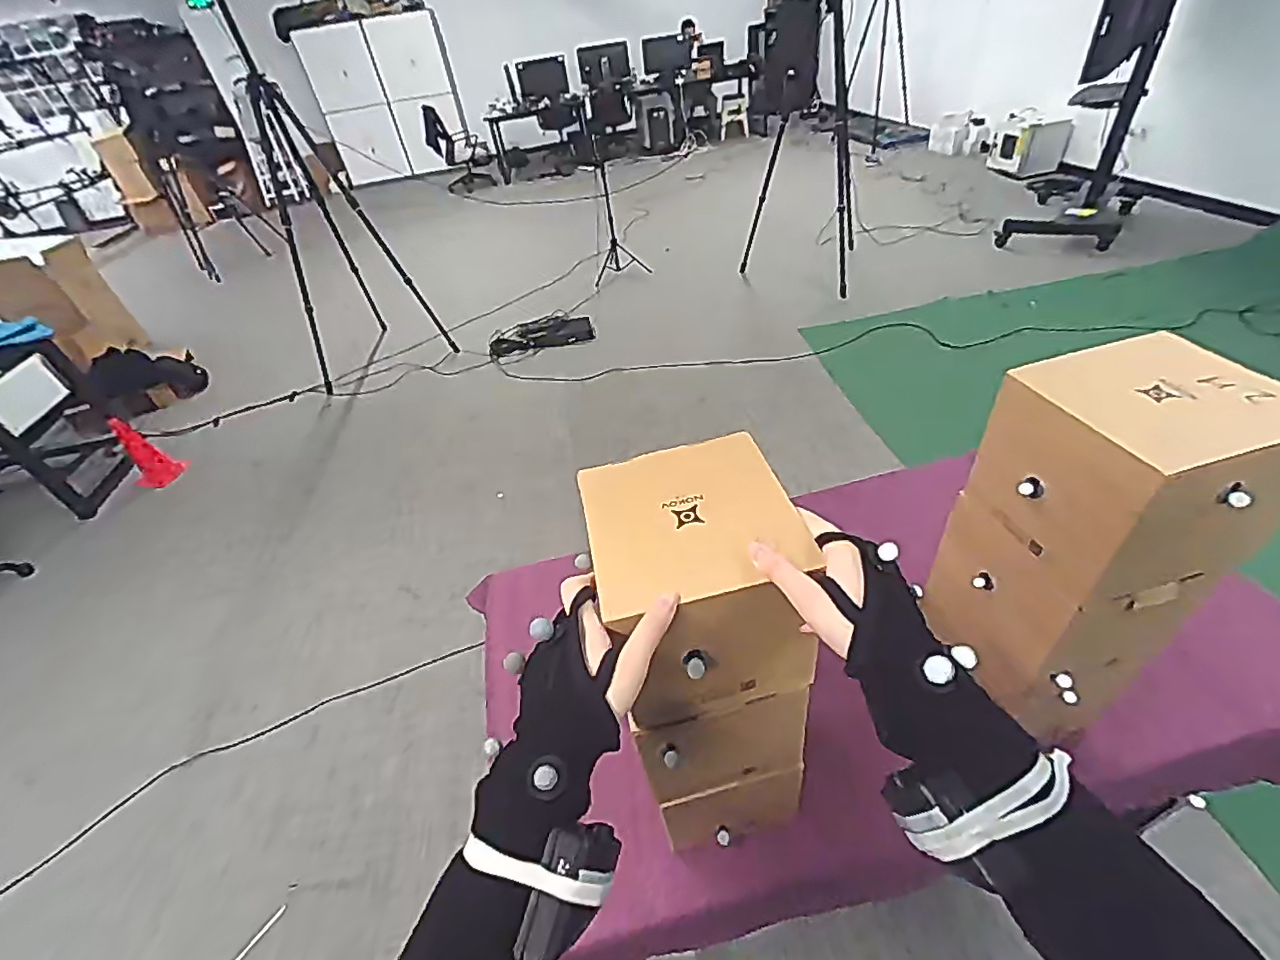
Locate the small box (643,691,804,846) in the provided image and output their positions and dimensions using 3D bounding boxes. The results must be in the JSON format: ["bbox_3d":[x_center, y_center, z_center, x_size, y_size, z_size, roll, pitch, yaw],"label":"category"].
[{"bbox_3d":[0.096,0.336,0.702,0.168,0.176,0.179,-14,42,-3],"label":"small box"}]

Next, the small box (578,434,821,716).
[{"bbox_3d":[0.049,0.090,0.491,0.168,0.176,0.179,-14,39,-3],"label":"small box"}]

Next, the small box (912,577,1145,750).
[{"bbox_3d":[0.501,0.229,0.735,0.168,0.176,0.179,-15,40,-3],"label":"small box"}]

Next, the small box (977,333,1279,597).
[{"bbox_3d":[0.458,-0.013,0.516,0.179,0.176,0.168,-14,42,-4],"label":"small box"}]

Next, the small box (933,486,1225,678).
[{"bbox_3d":[0.479,0.107,0.628,0.168,0.176,0.179,-15,41,-5],"label":"small box"}]
